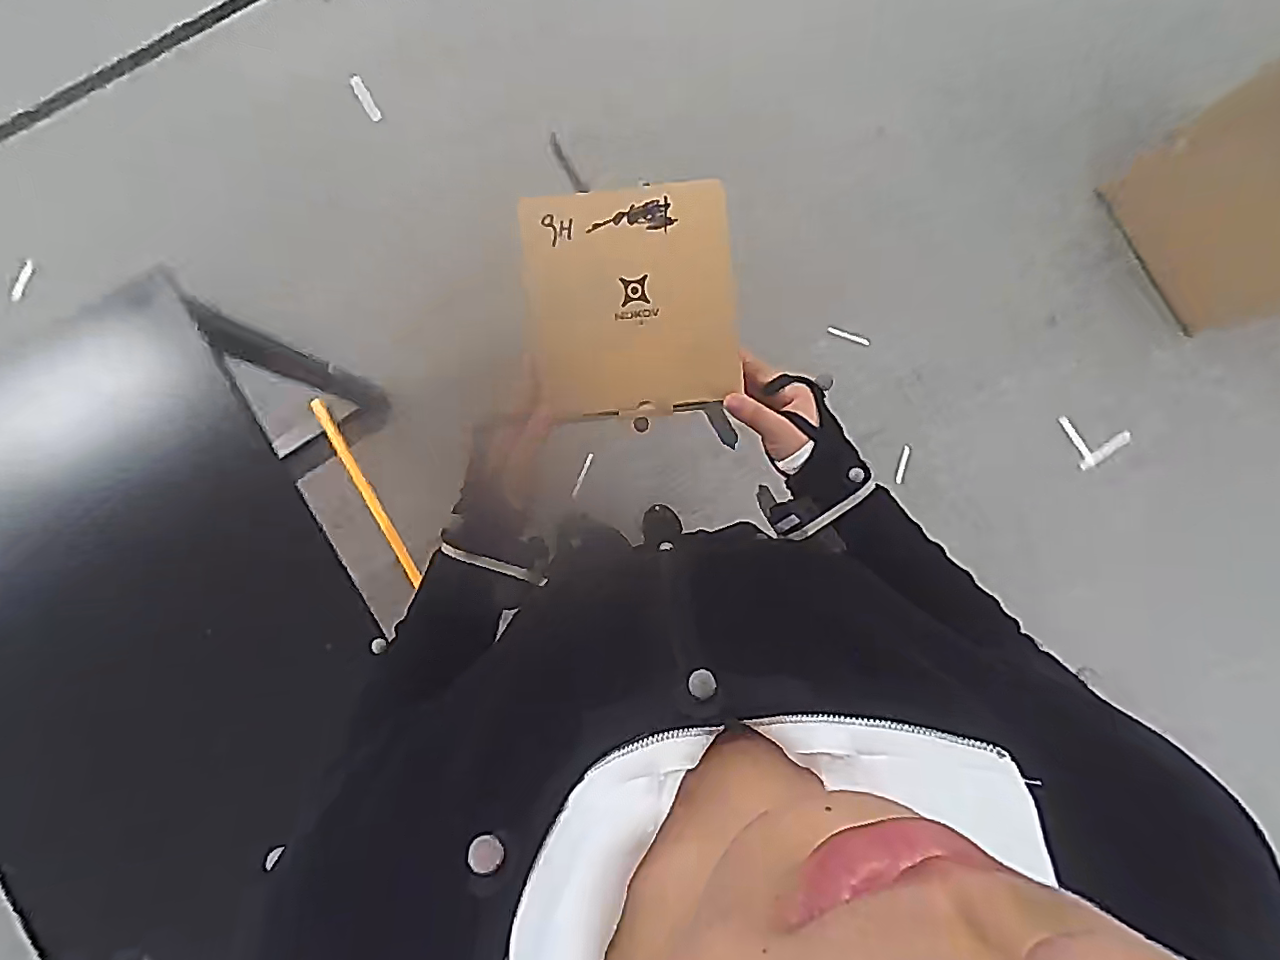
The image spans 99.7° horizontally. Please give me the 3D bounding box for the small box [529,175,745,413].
[{"bbox_3d":[-0.002,-0.158,0.515,0.168,0.176,0.179,-6,97,-1],"label":"small box"}]
